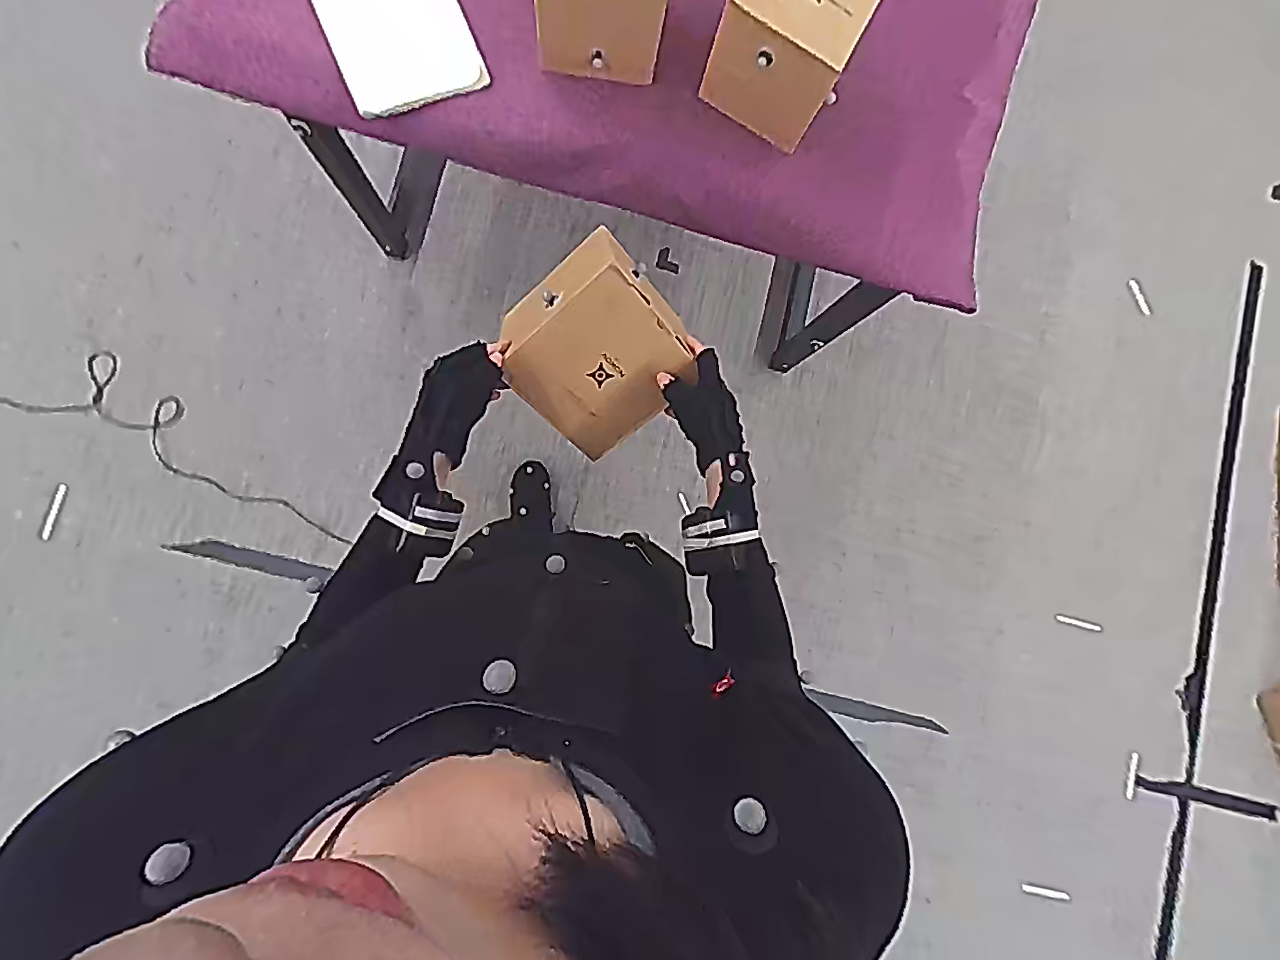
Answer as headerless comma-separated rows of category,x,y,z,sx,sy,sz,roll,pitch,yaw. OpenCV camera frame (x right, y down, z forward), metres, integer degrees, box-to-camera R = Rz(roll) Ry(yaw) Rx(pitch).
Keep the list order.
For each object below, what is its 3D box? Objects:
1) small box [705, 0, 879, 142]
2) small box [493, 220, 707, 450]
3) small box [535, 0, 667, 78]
small box,0.215,-0.644,0.785,0.179,0.176,0.168,29,82,-4
small box,-0.050,-0.177,0.643,0.179,0.176,0.168,-36,122,18
small box,-0.055,-0.713,0.761,0.179,0.176,0.168,2,85,-7
